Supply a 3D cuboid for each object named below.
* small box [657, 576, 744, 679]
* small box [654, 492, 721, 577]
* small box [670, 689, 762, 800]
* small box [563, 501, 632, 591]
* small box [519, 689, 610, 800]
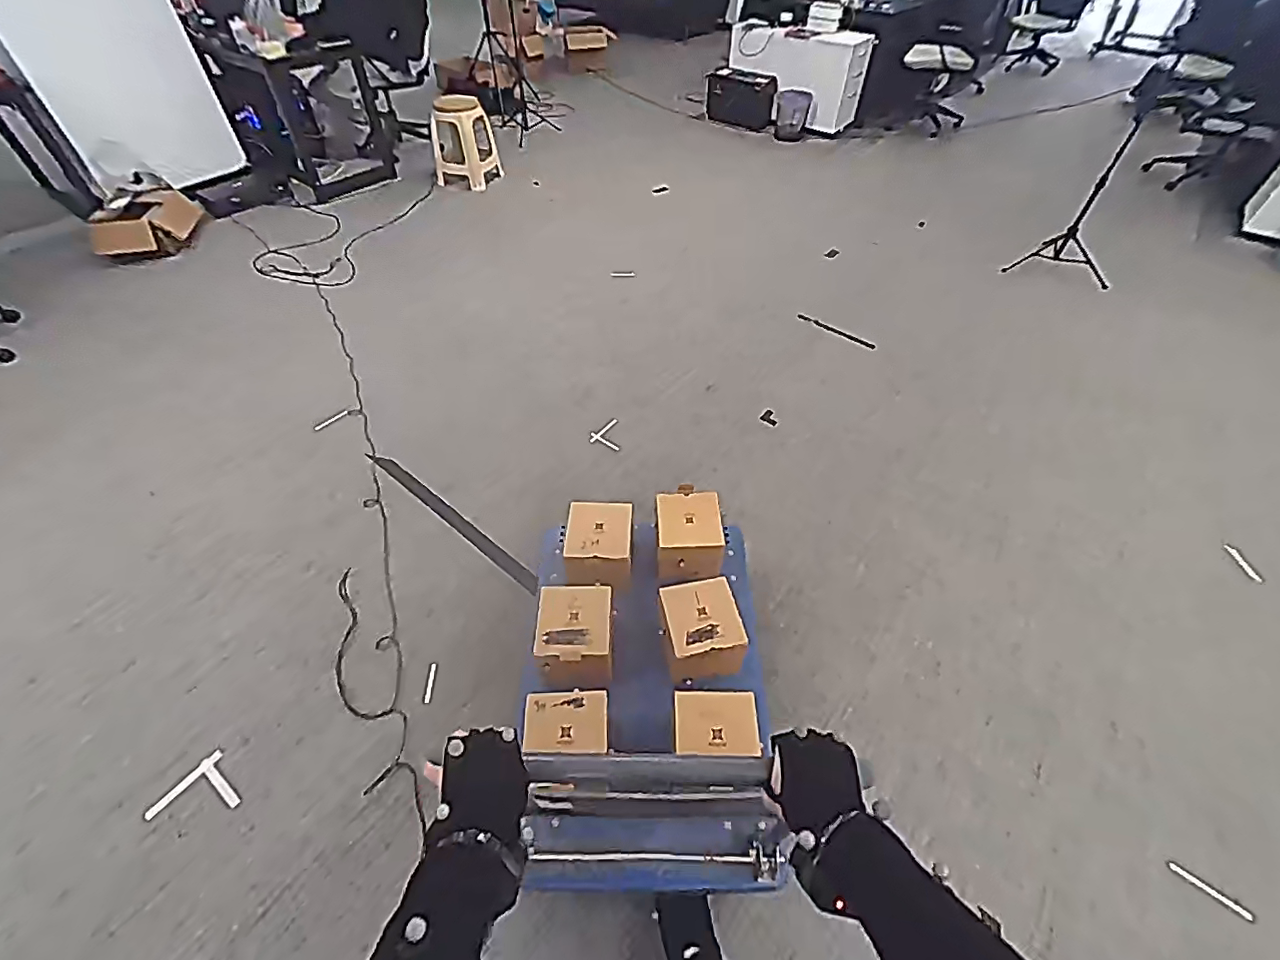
[{"bbox_3d":[0.138,0.359,1.294,0.168,0.176,0.179,-9,49,-8],"label":"small box"},{"bbox_3d":[0.124,0.153,1.473,0.168,0.176,0.179,-2,49,-2],"label":"small box"},{"bbox_3d":[0.150,0.554,1.126,0.168,0.176,0.179,1,49,0],"label":"small box"},{"bbox_3d":[-0.109,0.178,1.448,0.168,0.176,0.179,2,50,1],"label":"small box"},{"bbox_3d":[-0.148,0.554,1.122,0.168,0.176,0.179,-1,49,-3],"label":"small box"}]
